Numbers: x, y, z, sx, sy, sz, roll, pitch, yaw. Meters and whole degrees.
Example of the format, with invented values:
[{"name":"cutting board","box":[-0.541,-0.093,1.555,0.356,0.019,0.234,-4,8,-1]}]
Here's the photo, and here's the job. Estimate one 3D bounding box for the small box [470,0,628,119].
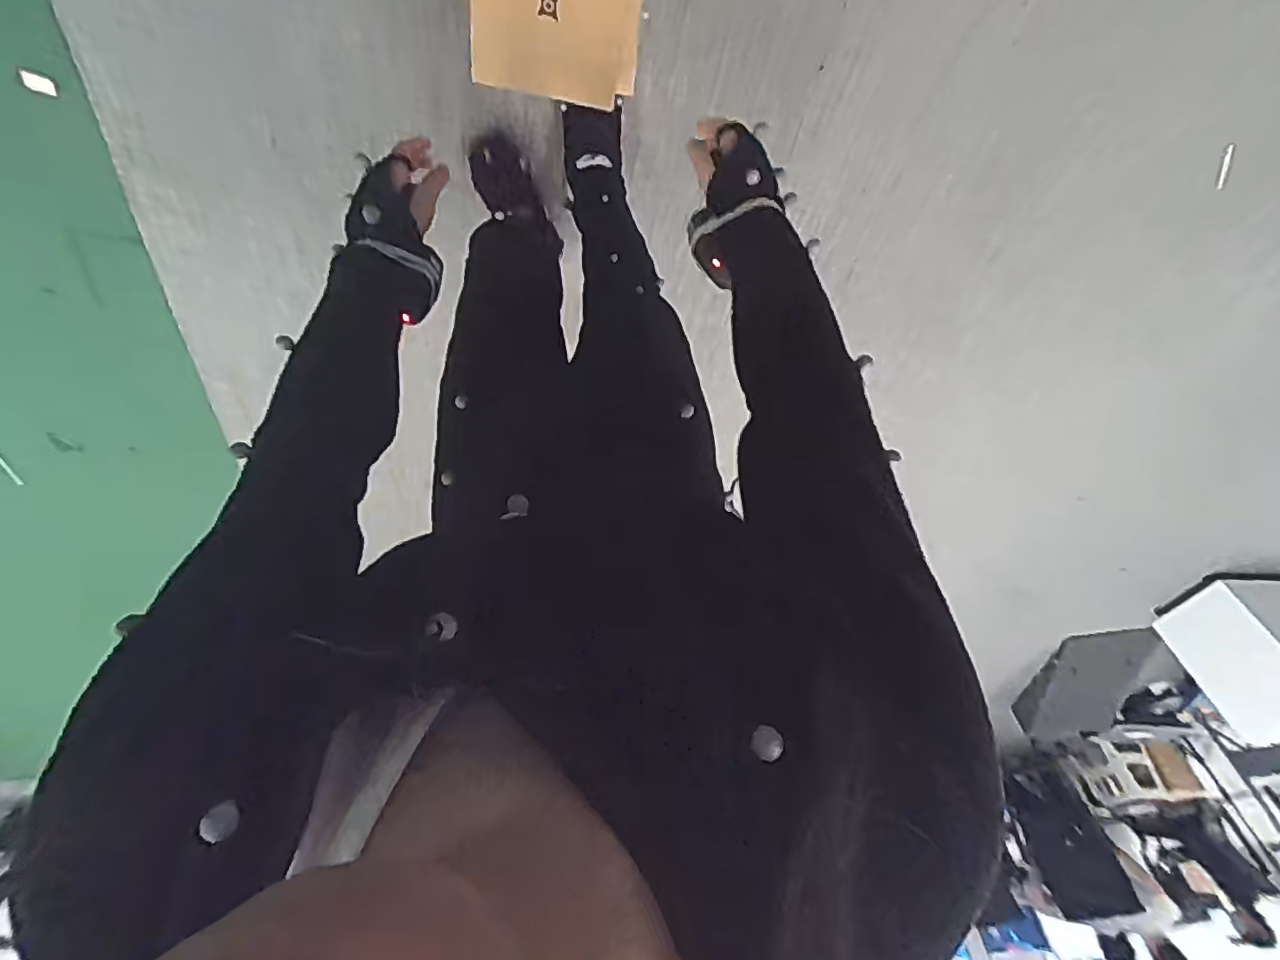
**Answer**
[{"name":"small box","box":[-0.099,-0.559,0.630,0.168,0.176,0.179,7,135,-10]}]
